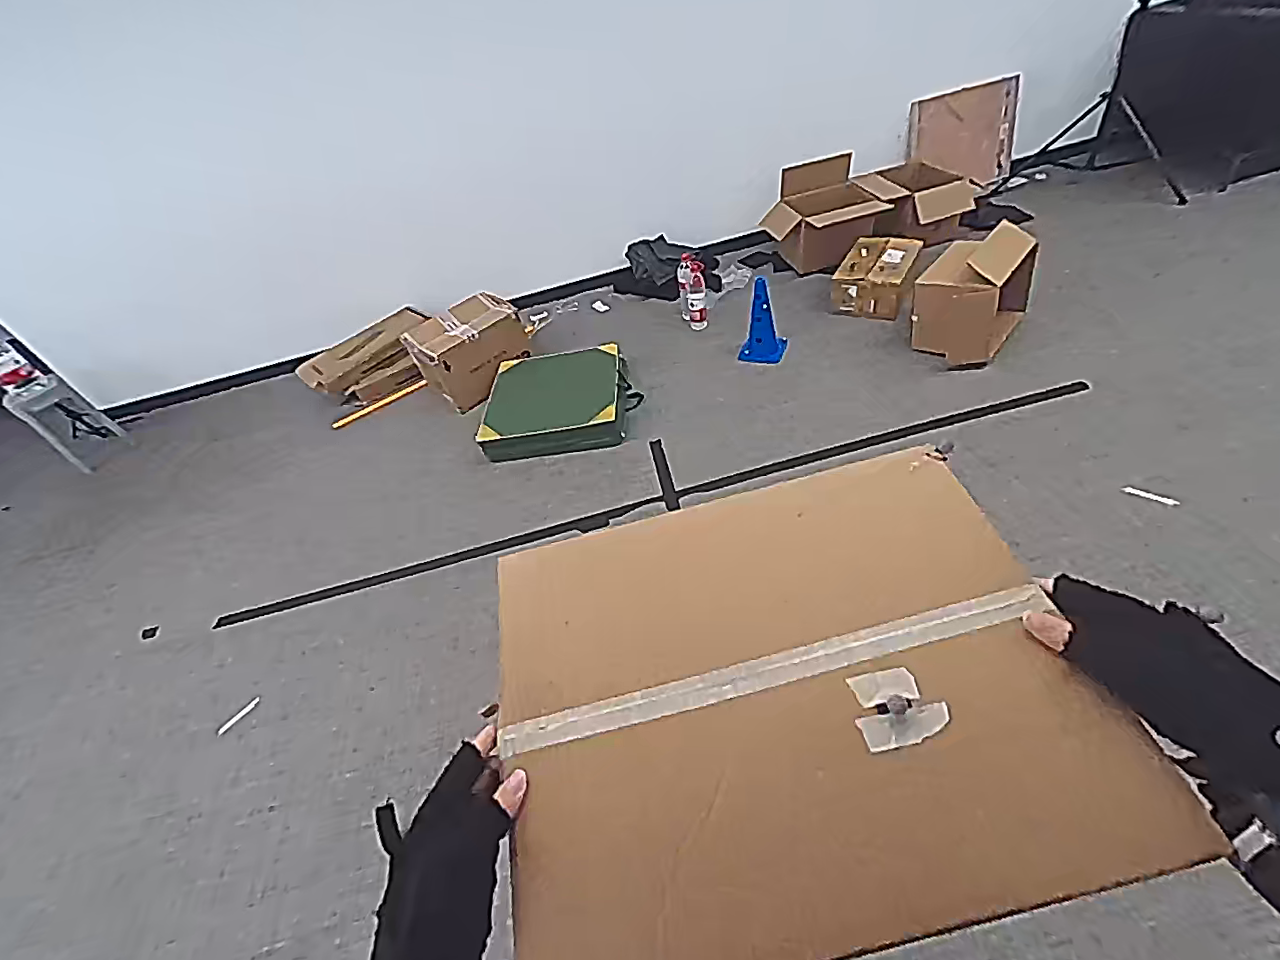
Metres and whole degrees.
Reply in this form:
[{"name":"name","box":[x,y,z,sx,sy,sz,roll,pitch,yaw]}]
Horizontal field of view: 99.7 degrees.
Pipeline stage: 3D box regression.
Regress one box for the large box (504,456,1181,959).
[{"name":"large box","box":[0.120,0.234,0.521,0.408,0.320,0.320,-15,52,-1]}]
